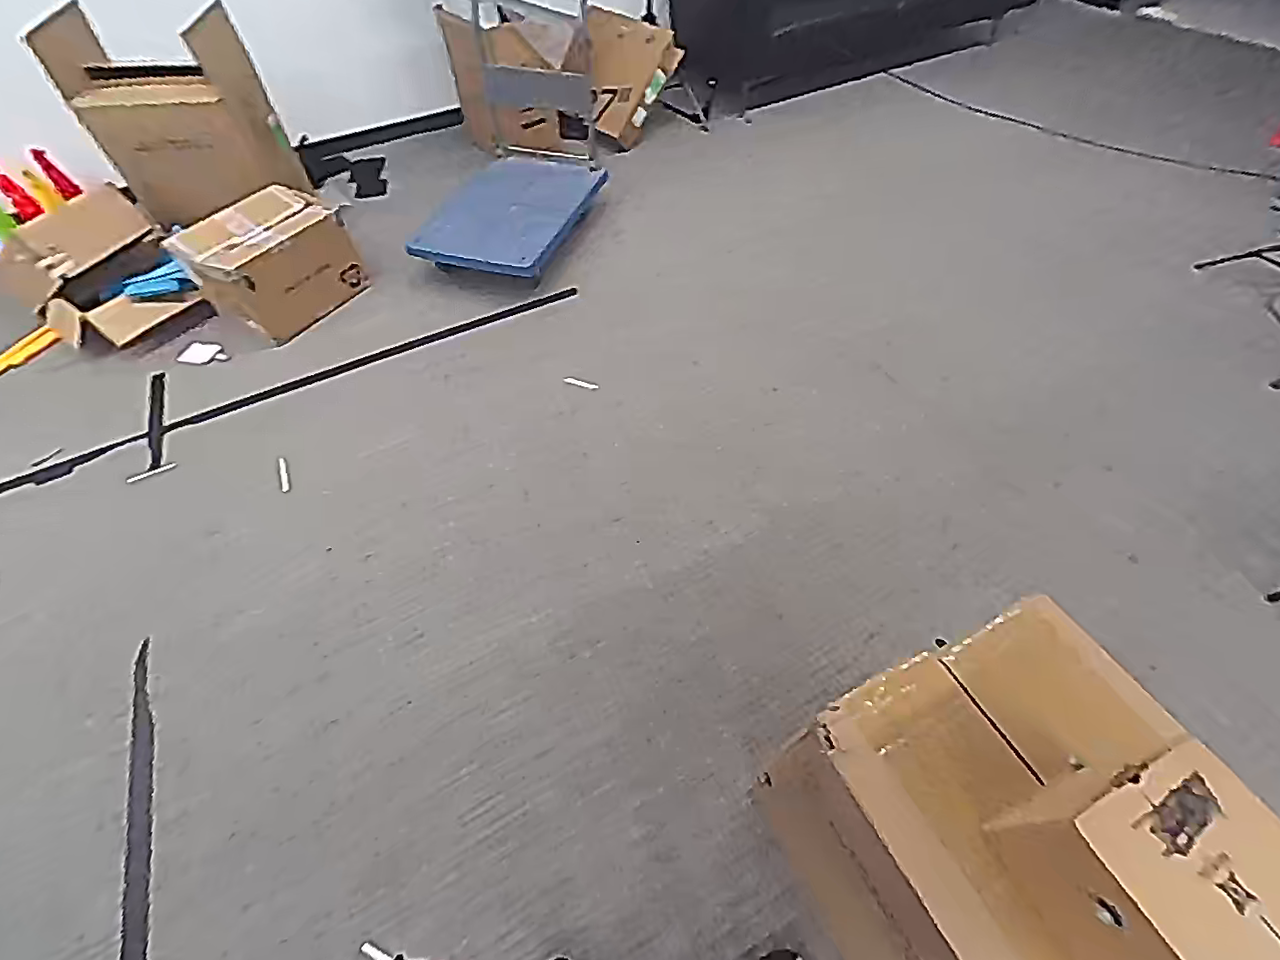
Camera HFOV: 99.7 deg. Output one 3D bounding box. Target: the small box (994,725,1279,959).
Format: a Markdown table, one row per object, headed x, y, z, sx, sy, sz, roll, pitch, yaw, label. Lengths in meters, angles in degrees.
| x | y | z | sx | sy | sz | roll | pitch | yaw | label |
| --- | --- | --- | --- | --- | --- | --- | --- | --- | --- |
| 0.495 | 0.372 | 0.519 | 0.168 | 0.176 | 0.179 | -22 | 57 | -12 | small box |
